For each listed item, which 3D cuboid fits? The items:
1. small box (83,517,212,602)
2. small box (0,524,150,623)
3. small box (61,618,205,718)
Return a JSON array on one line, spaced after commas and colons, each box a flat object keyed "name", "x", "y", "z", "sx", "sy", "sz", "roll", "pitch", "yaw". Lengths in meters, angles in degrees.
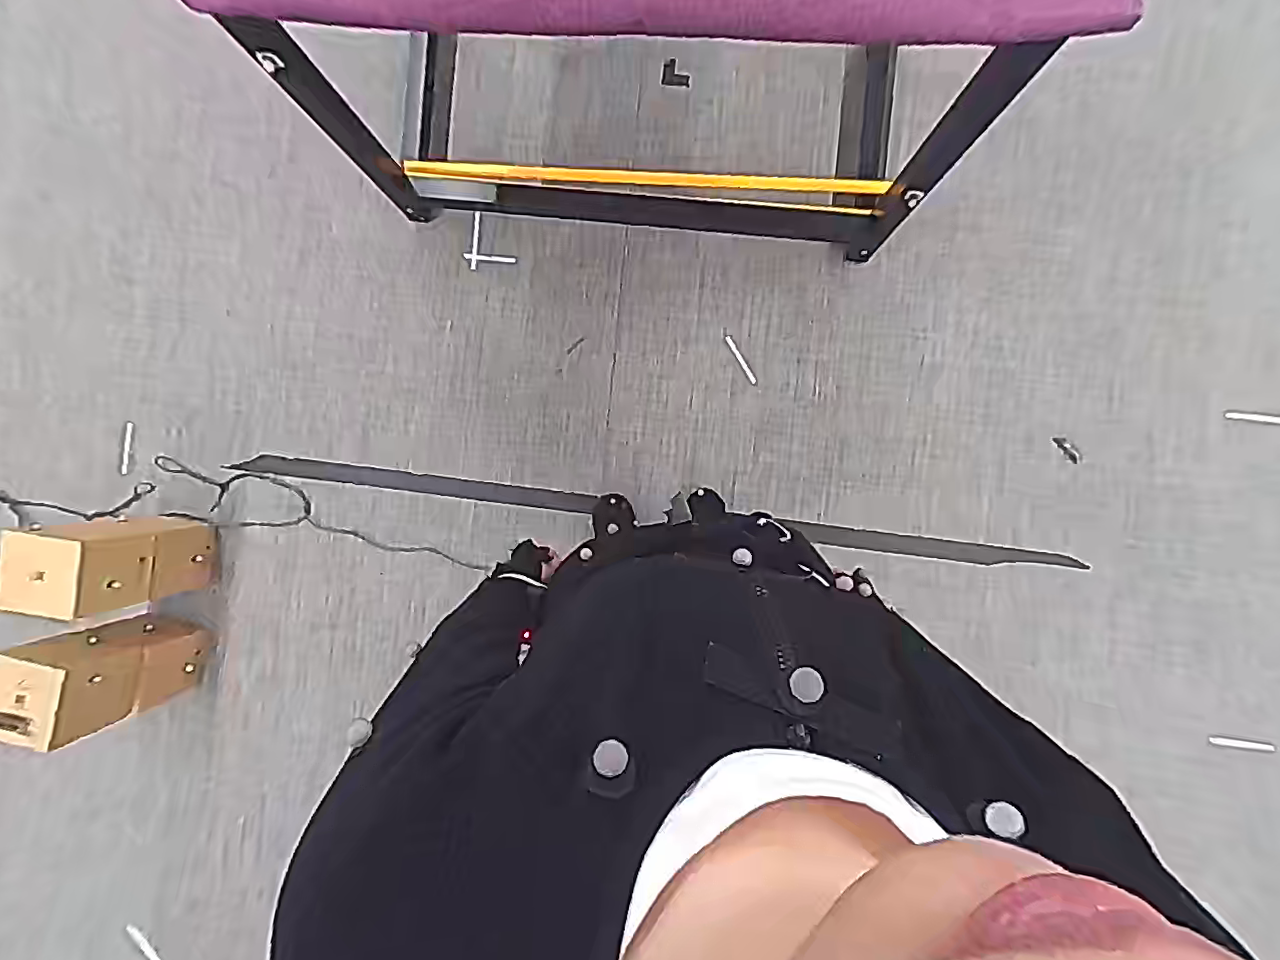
[{"name": "small box", "x": -1.206, "y": 0.187, "z": 1.323, "sx": 0.179, "sy": 0.176, "sz": 0.168, "roll": 8, "pitch": 92, "yaw": 1}, {"name": "small box", "x": -1.212, "y": 0.192, "z": 1.161, "sx": 0.179, "sy": 0.176, "sz": 0.168, "roll": 8, "pitch": 92, "yaw": 3}, {"name": "small box", "x": -1.232, "y": 0.451, "z": 1.326, "sx": 0.179, "sy": 0.176, "sz": 0.168, "roll": 13, "pitch": 91, "yaw": 1}]
